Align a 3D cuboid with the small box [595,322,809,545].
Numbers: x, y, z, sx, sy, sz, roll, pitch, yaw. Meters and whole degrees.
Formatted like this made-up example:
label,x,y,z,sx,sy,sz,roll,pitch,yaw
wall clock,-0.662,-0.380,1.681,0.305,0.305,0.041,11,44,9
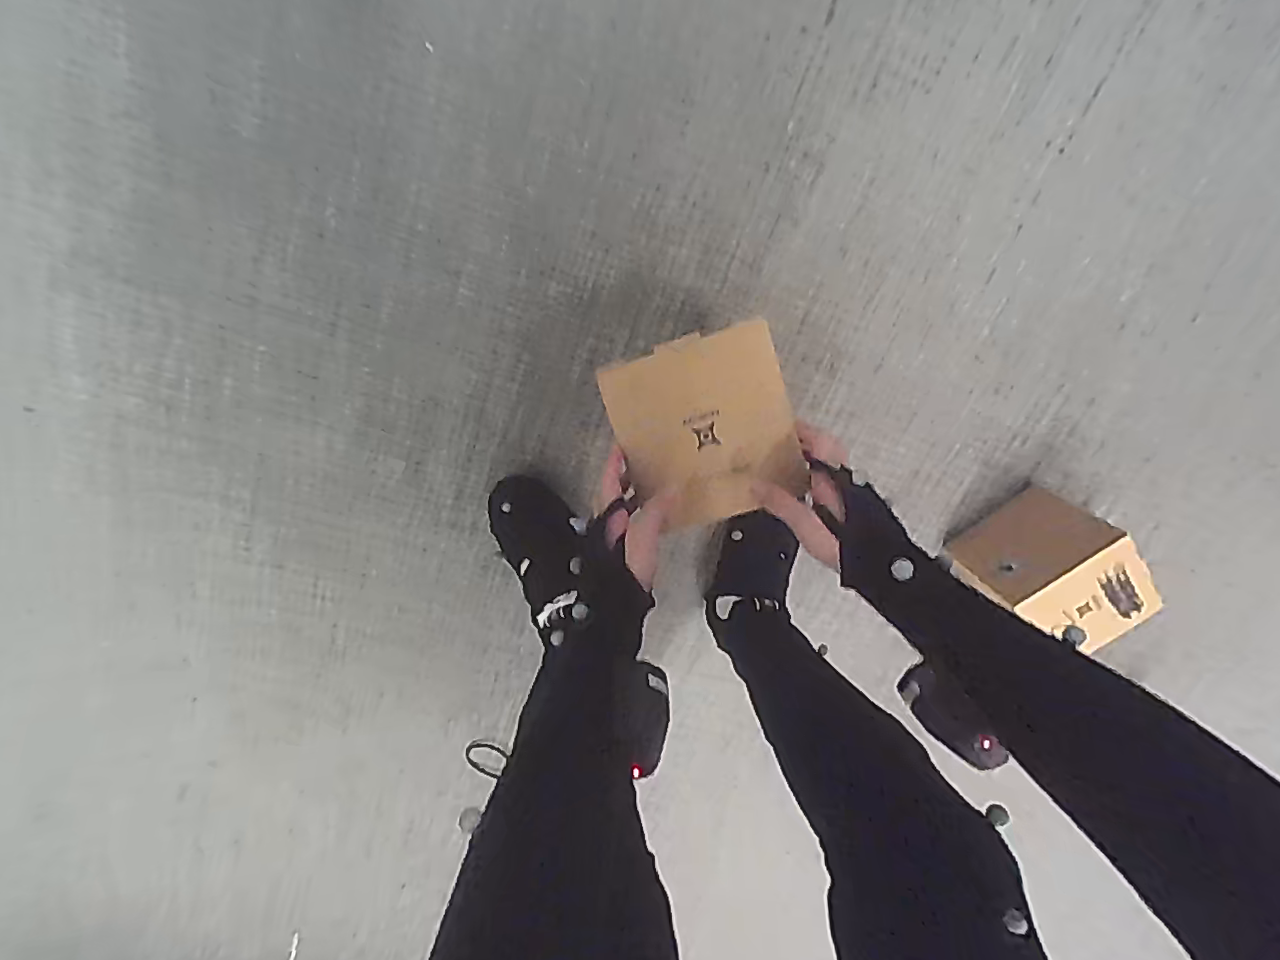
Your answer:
label,x,y,z,sx,sy,sz,roll,pitch,yaw
small box,0.062,-0.054,0.585,0.168,0.176,0.179,-17,100,7
